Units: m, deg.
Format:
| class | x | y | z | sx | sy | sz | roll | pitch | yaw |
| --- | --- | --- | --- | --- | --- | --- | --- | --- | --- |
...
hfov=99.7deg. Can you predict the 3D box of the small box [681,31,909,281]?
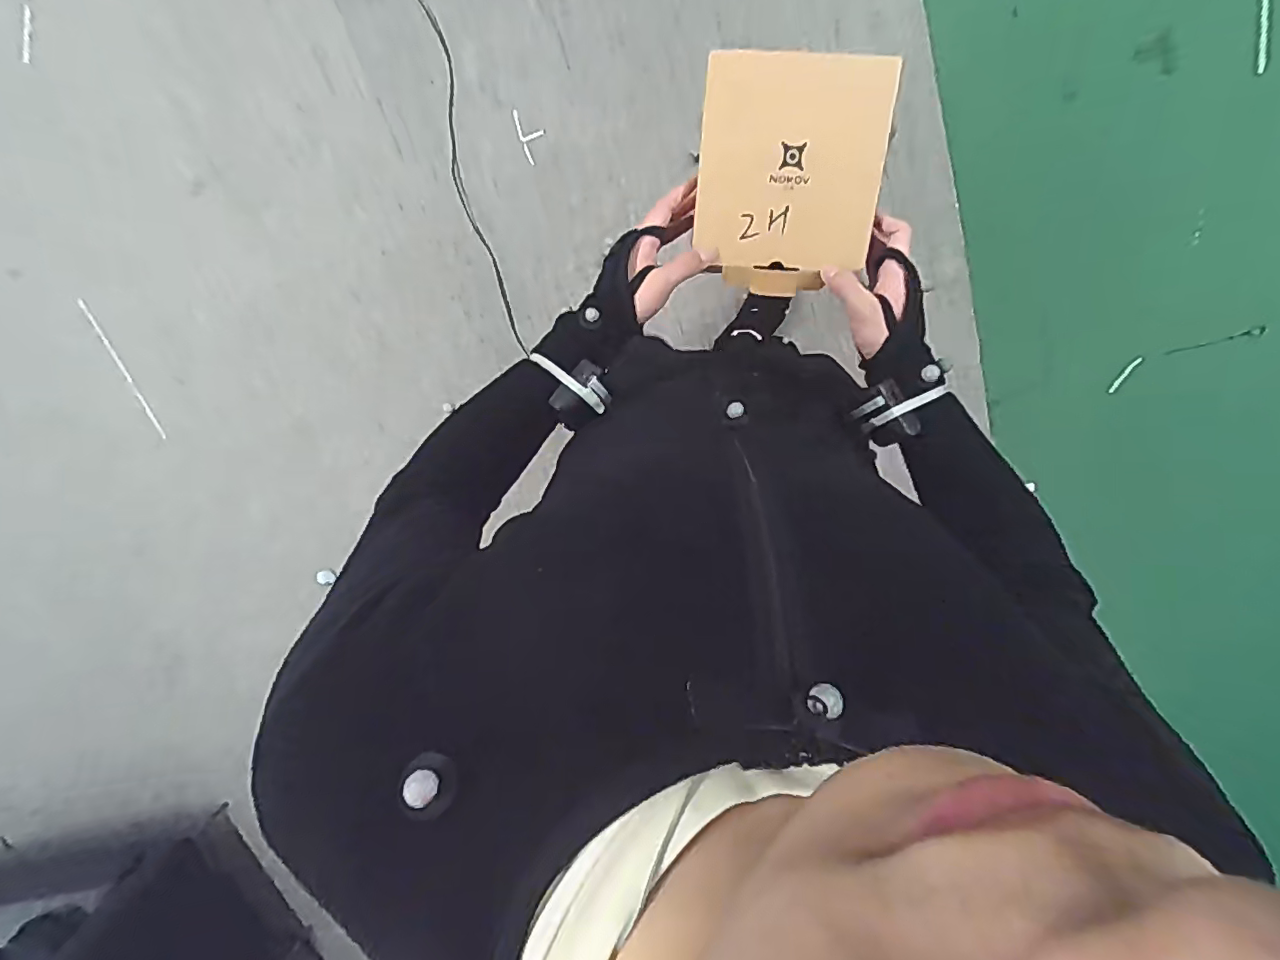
| class | x | y | z | sx | sy | sz | roll | pitch | yaw |
| --- | --- | --- | --- | --- | --- | --- | --- | --- | --- |
| small box | 0.140 | -0.311 | 0.557 | 0.168 | 0.176 | 0.179 | 11 | 111 | 3 |
